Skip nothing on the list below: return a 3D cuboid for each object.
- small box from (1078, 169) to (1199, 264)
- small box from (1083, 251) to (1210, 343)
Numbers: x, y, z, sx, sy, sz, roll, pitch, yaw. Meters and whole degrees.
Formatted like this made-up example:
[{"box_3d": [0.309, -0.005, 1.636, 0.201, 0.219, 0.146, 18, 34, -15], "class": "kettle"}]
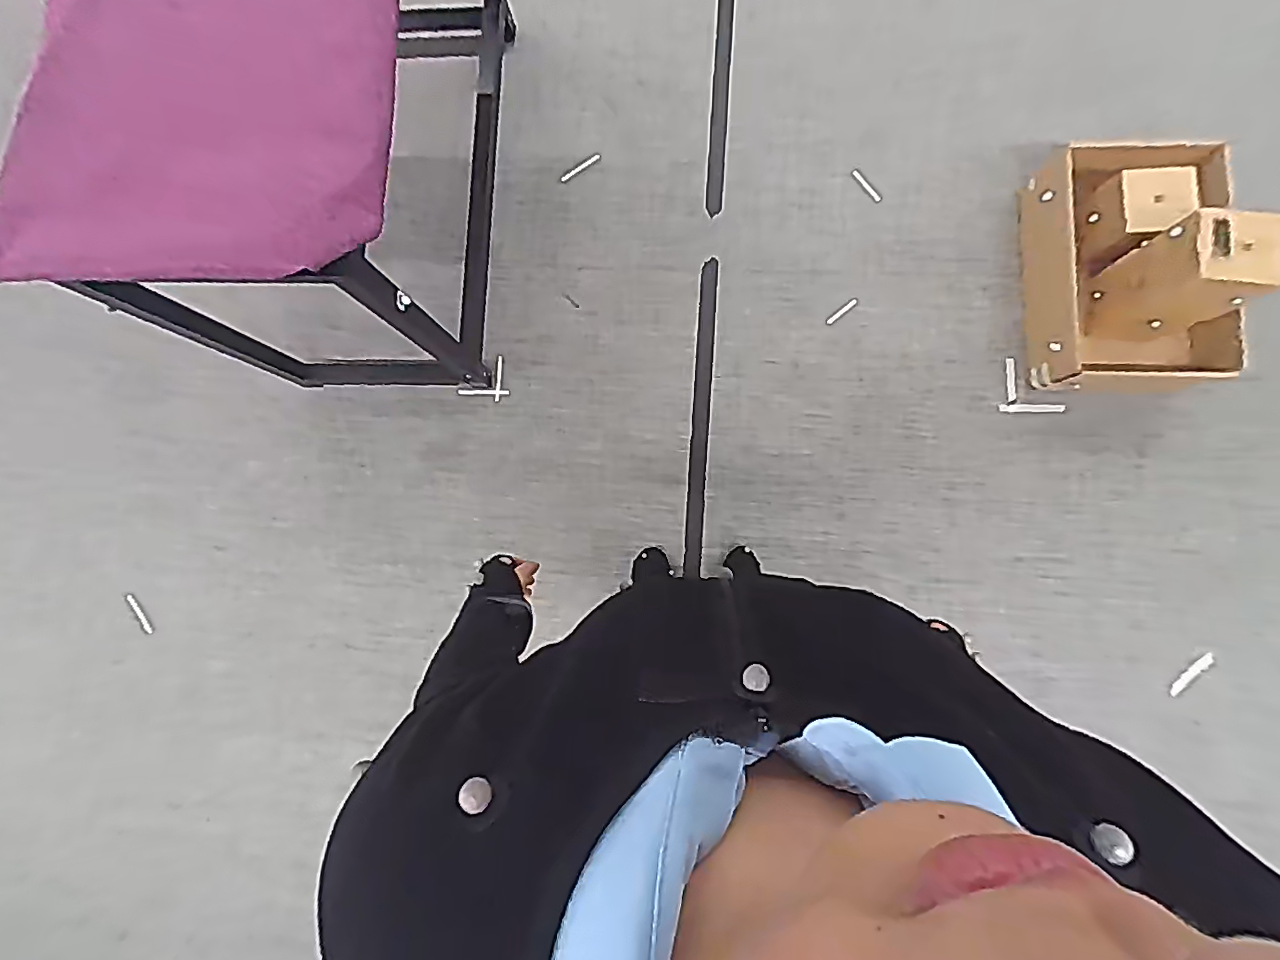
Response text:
[{"box_3d": [1.289, -0.681, 1.416, 0.179, 0.176, 0.168, 0, 86, 4], "class": "small box"}, {"box_3d": [1.301, -0.466, 1.397, 0.179, 0.176, 0.168, 6, 82, 5], "class": "small box"}]
